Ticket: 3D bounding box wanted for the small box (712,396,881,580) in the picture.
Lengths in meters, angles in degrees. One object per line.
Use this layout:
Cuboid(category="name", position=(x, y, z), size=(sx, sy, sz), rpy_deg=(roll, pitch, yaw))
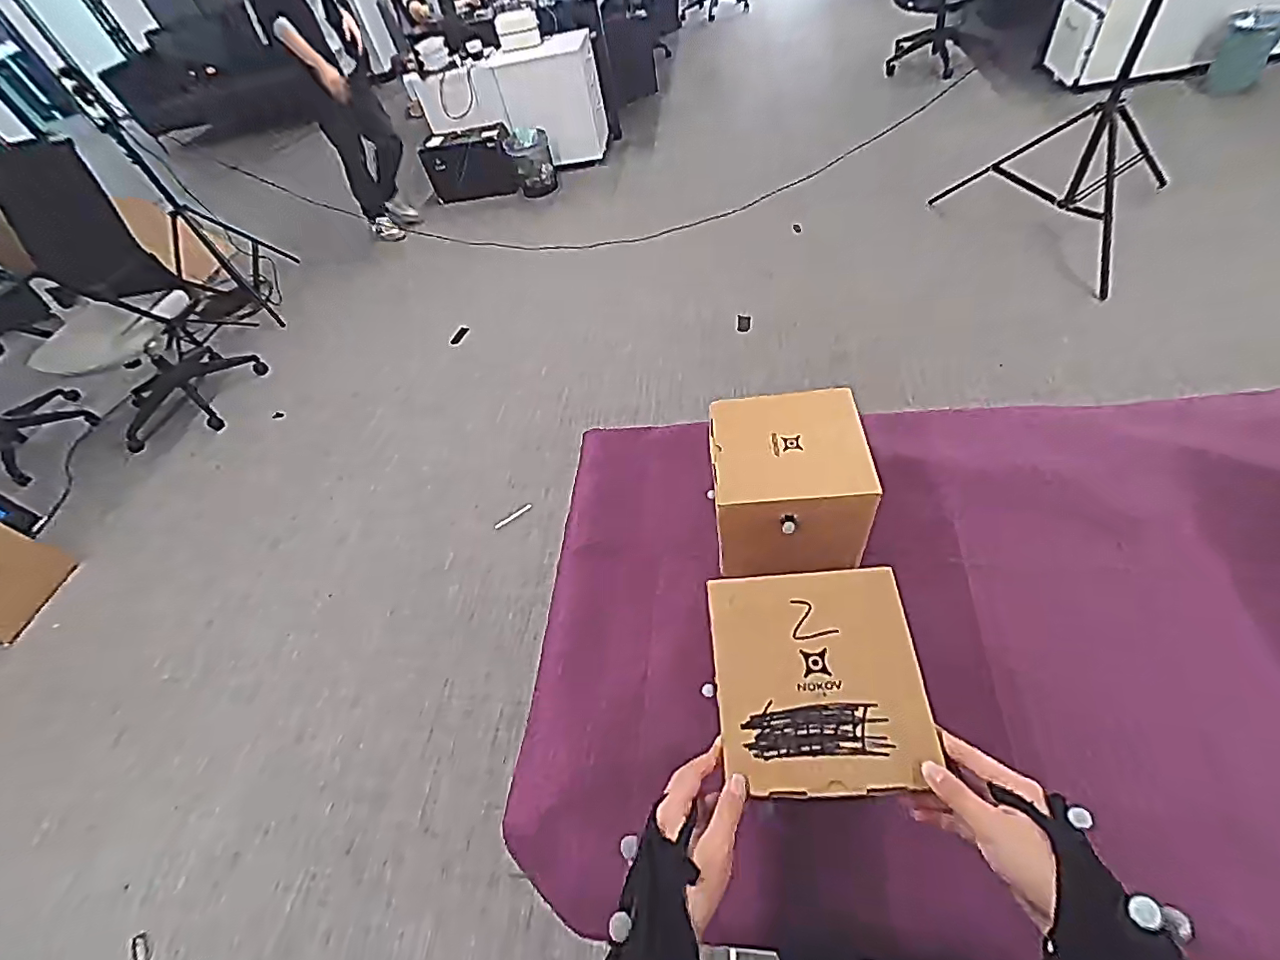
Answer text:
Cuboid(category="small box", position=(0.186, 0.016, 0.694), size=(0.179, 0.176, 0.168), rpy_deg=(-5, 51, 9))
